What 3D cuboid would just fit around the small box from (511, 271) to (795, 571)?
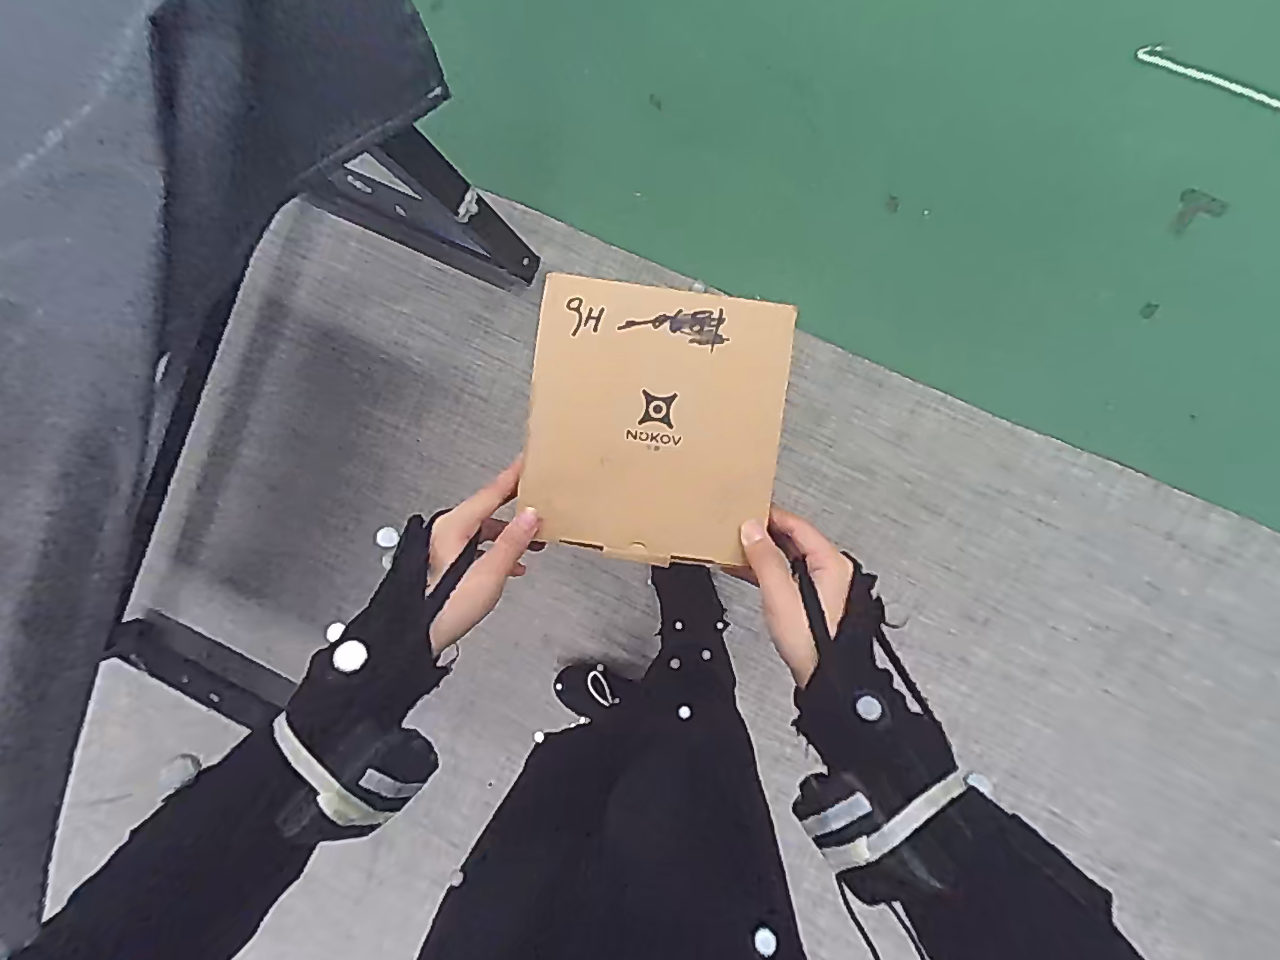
[{"bbox_3d":[0.008,-0.040,0.429,0.168,0.176,0.179,8,92,-1],"label":"small box"}]
